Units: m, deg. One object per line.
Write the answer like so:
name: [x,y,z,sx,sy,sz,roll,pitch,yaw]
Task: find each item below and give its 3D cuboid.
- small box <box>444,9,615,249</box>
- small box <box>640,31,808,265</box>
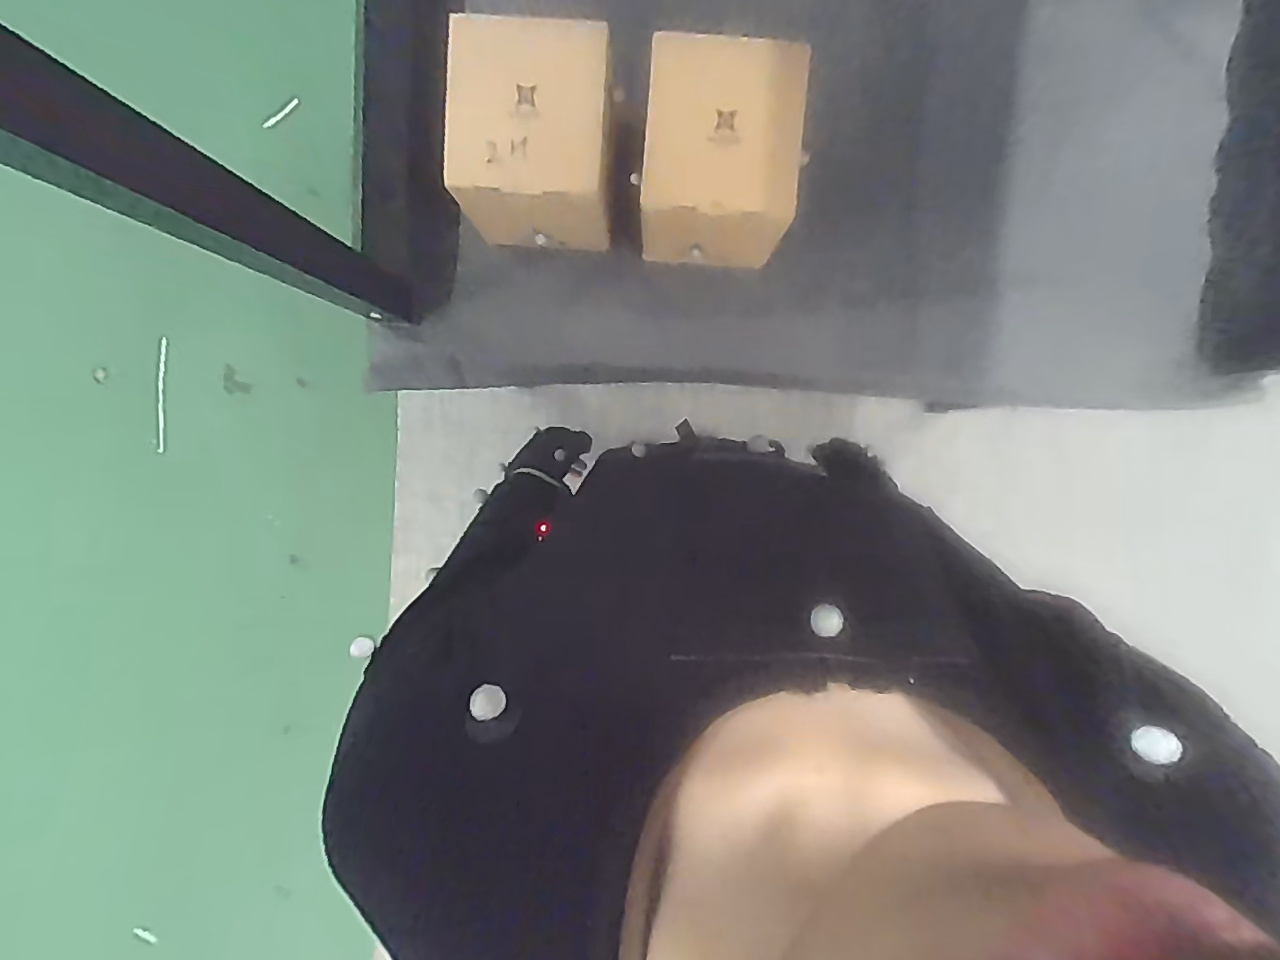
small box: [-0.119,-0.399,0.643,0.168,0.176,0.179,4,94,0]
small box: [0.087,-0.378,0.646,0.168,0.176,0.179,4,94,0]
